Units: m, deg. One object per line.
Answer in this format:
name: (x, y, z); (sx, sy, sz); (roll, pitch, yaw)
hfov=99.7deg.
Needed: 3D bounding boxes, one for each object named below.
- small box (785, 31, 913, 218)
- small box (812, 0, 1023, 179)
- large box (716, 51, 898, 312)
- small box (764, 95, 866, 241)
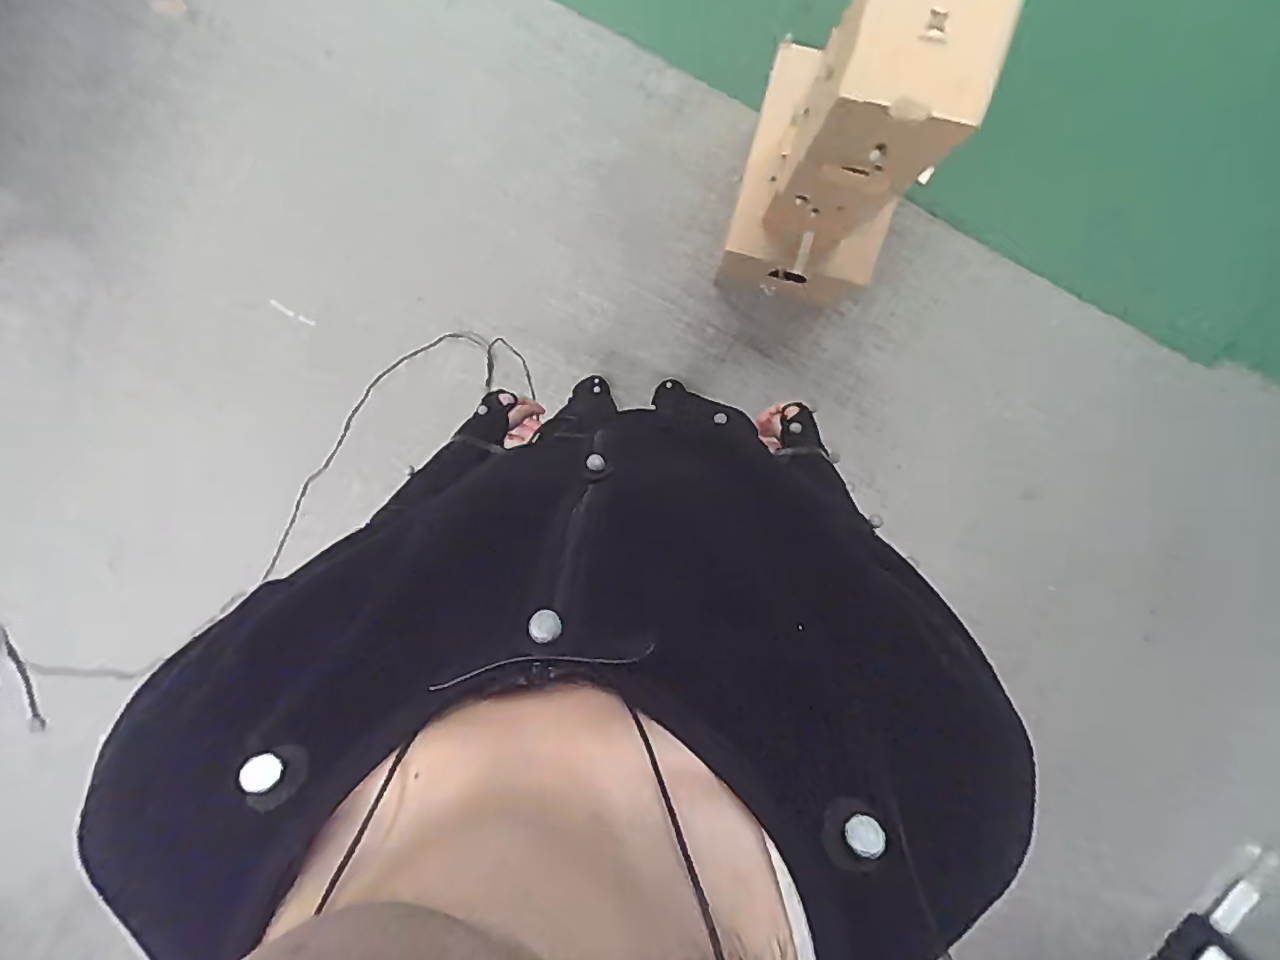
small box: (0.336, -0.532, 0.839); (0.168, 0.176, 0.179); (14, 99, 1)
small box: (0.330, -0.508, 0.676); (0.168, 0.176, 0.179); (15, 101, 1)
large box: (0.379, -0.637, 1.233); (0.320, 0.320, 0.408); (14, 98, 0)
small box: (0.343, -0.562, 0.999); (0.179, 0.176, 0.168); (15, 100, 1)
